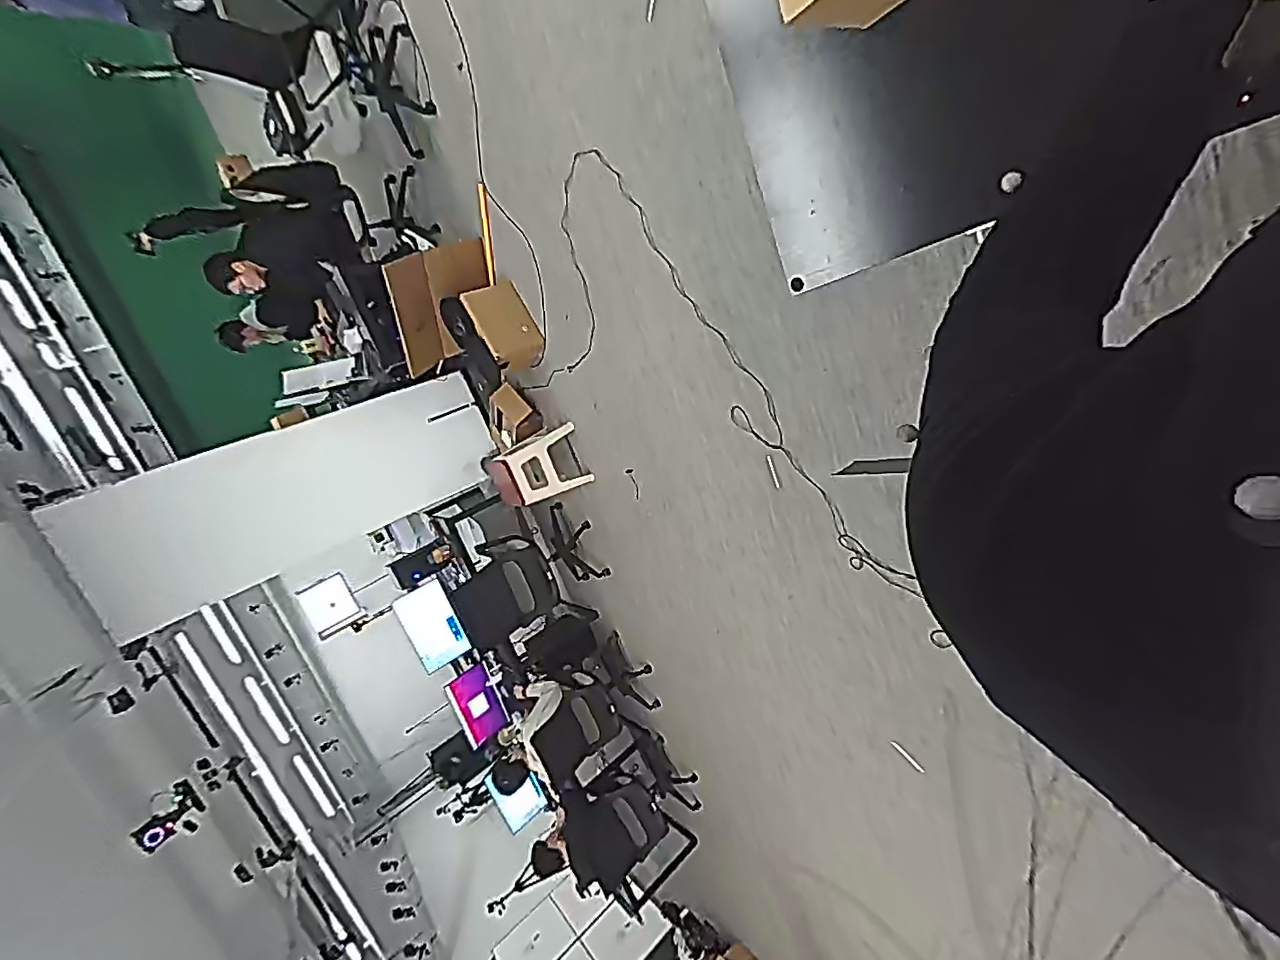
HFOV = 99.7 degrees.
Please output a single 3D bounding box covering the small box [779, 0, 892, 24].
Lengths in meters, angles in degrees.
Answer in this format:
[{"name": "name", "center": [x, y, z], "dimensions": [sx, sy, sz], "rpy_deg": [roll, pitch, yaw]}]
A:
[{"name": "small box", "center": [0.235, -0.599, 0.534], "dimensions": [0.168, 0.176, 0.179], "rpy_deg": [1, 115, 54]}]
